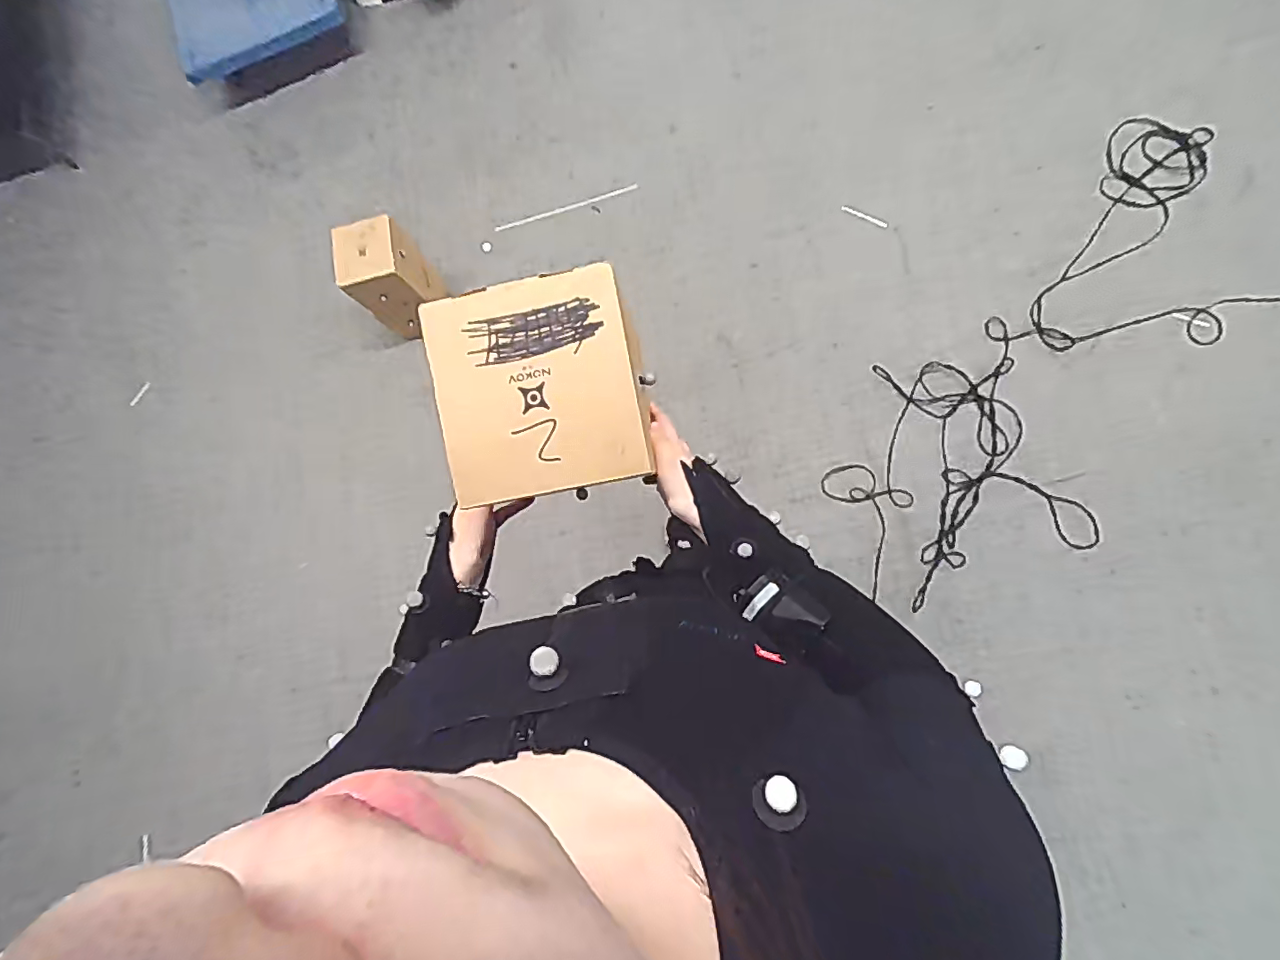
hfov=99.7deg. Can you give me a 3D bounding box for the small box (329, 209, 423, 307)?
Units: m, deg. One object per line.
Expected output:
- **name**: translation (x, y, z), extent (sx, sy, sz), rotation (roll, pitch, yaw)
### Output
- **small box**: translation (-0.713, -0.594, 1.478), extent (0.168, 0.176, 0.179), rotation (-12, 80, 5)

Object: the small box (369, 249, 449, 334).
- **small box**: translation (-0.698, -0.566, 1.640), extent (0.179, 0.176, 0.168), rotation (-13, 80, 6)
